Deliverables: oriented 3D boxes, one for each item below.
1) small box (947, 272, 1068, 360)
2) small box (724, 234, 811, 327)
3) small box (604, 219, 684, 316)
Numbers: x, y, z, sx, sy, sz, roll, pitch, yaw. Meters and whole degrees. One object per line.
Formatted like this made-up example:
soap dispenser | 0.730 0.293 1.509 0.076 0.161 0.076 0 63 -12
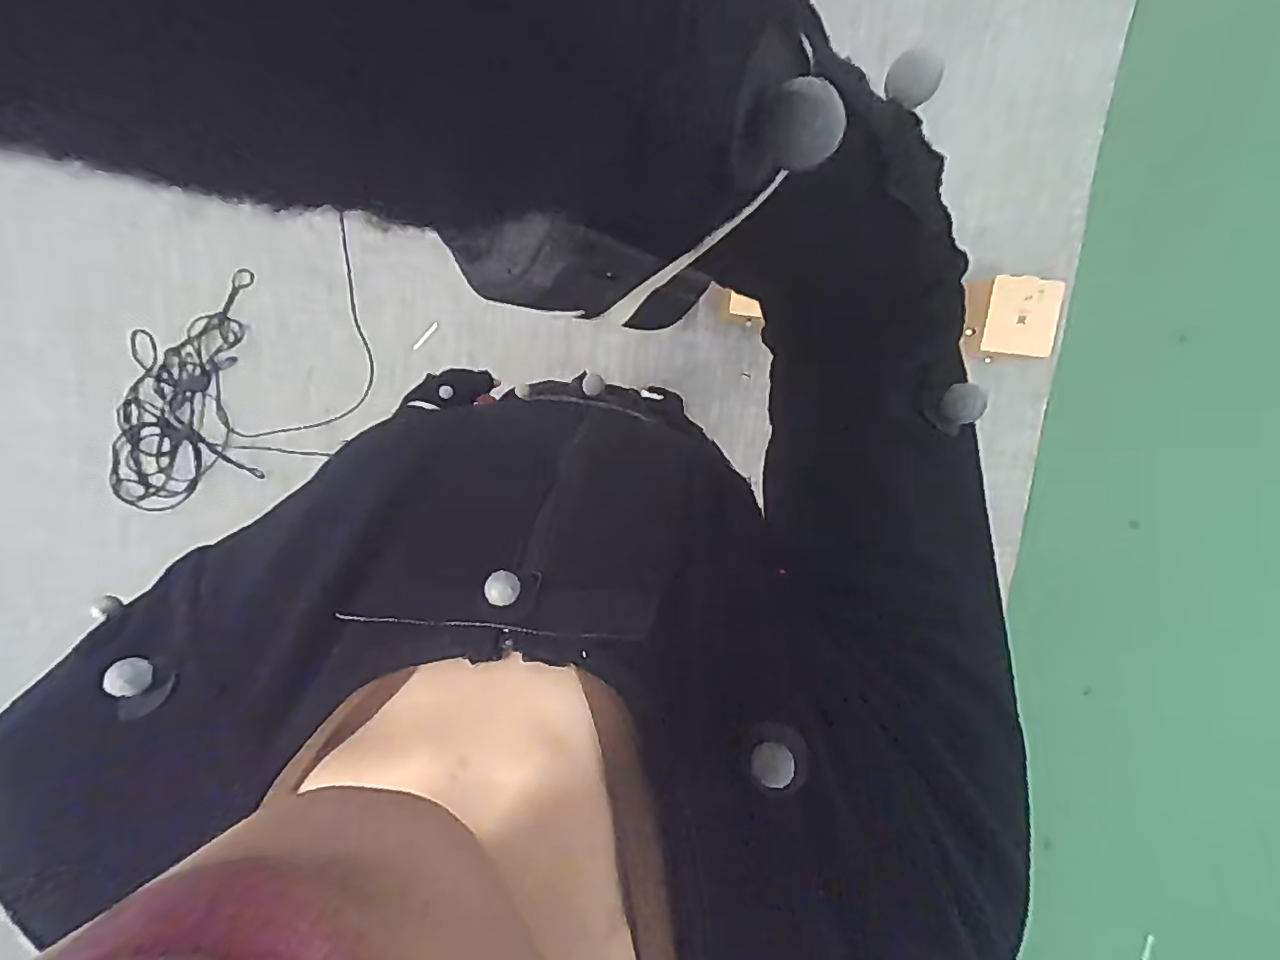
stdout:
small box | 0.885 -0.392 1.321 0.168 0.176 0.179 6 99 -1
small box | 0.301 -0.477 1.315 0.168 0.176 0.179 6 98 0
small box | 0.009 -0.508 1.313 0.168 0.176 0.179 8 100 0
